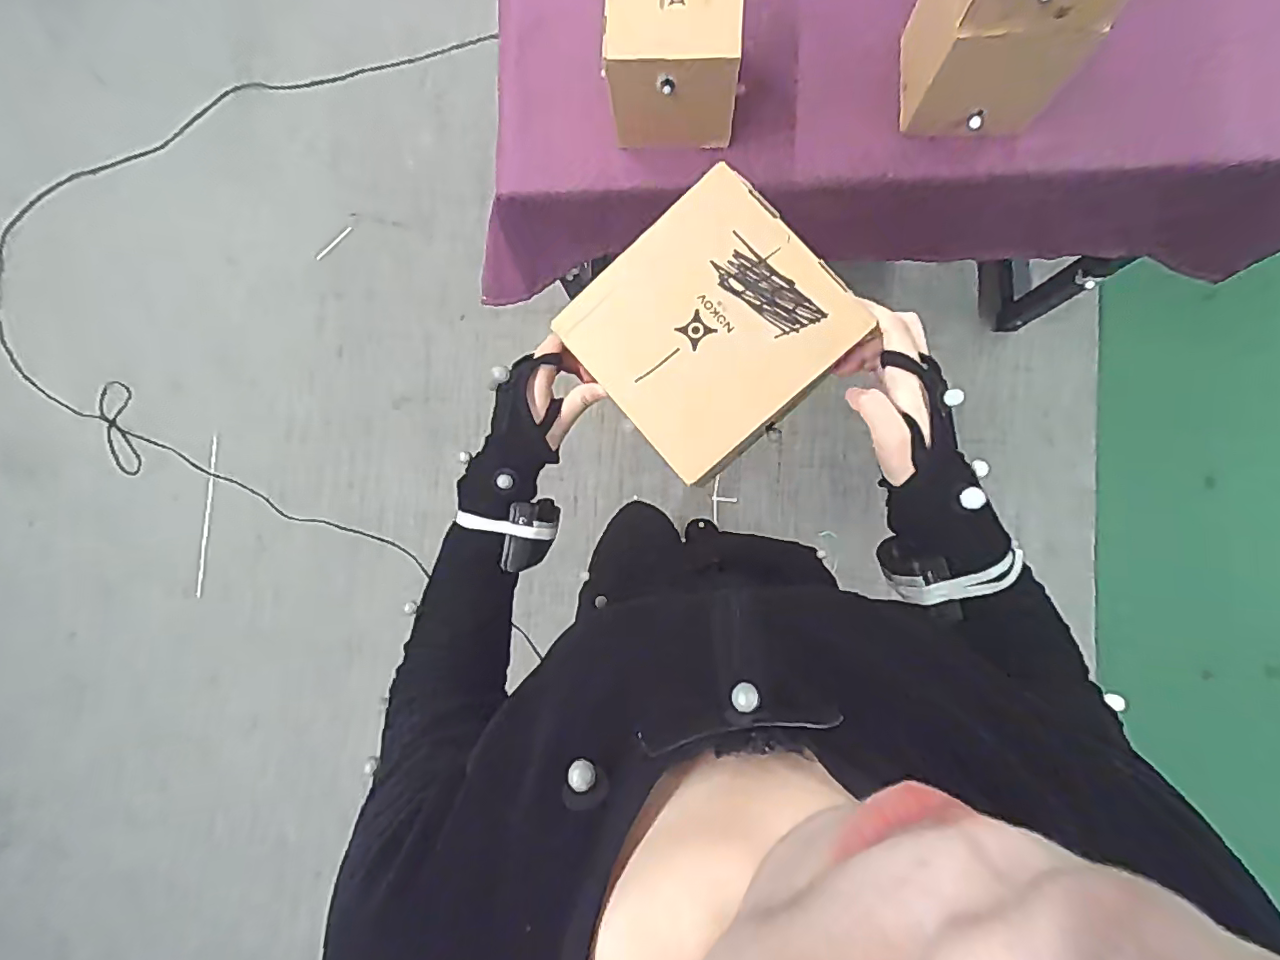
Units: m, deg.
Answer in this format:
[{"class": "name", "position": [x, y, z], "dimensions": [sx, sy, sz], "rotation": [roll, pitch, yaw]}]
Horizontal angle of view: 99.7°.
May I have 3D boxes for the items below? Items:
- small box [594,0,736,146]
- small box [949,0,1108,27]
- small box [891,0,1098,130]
[{"class": "small box", "position": [0.040, -0.601, 0.758], "dimensions": [0.179, 0.176, 0.168], "rotation": [3, 86, 4]}, {"class": "small box", "position": [0.444, -0.625, 0.562], "dimensions": [0.168, 0.176, 0.179], "rotation": [3, 87, 5]}, {"class": "small box", "position": [0.459, -0.602, 0.723], "dimensions": [0.179, 0.176, 0.168], "rotation": [2, 85, 4]}]
